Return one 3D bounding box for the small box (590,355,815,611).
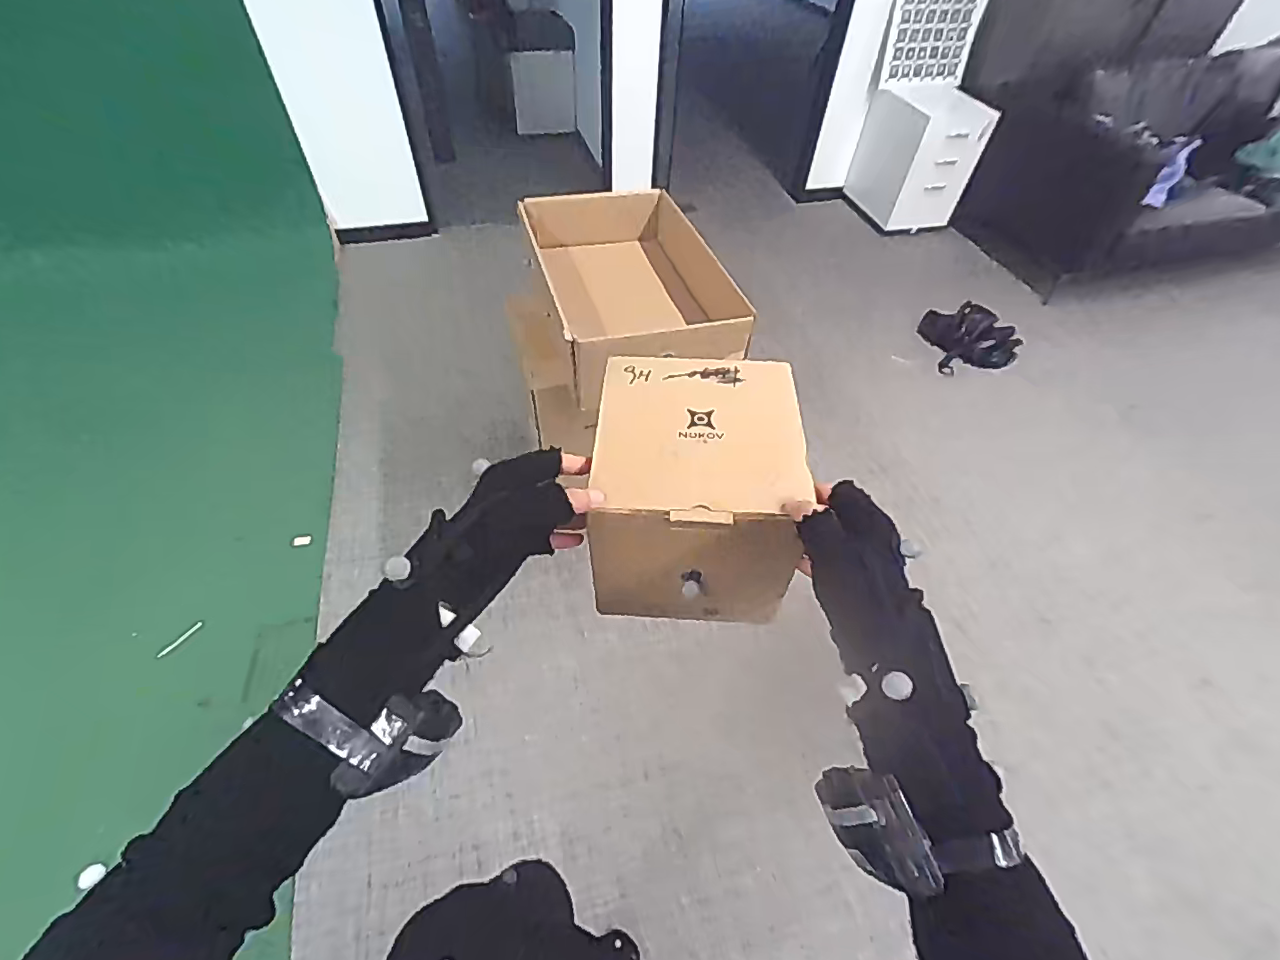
[{"bbox_3d":[0.051,0.007,0.501,0.168,0.176,0.179,3,51,2],"label":"small box"}]
